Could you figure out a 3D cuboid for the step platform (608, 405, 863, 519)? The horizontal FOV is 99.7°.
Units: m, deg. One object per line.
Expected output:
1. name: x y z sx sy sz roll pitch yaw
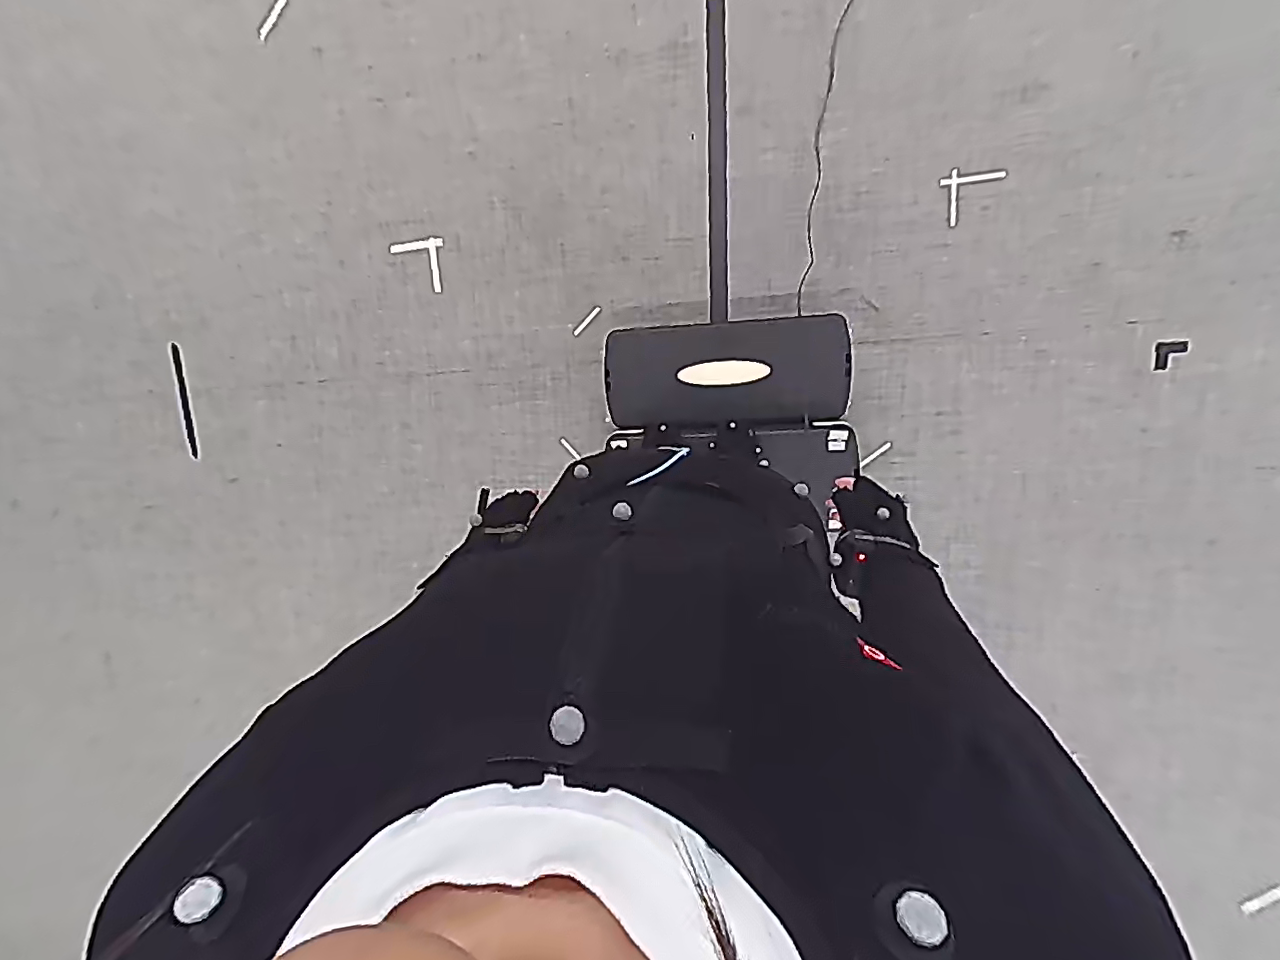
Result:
1. step platform: 0.252 -0.046 1.503 0.684 0.204 0.286 -2 98 11
